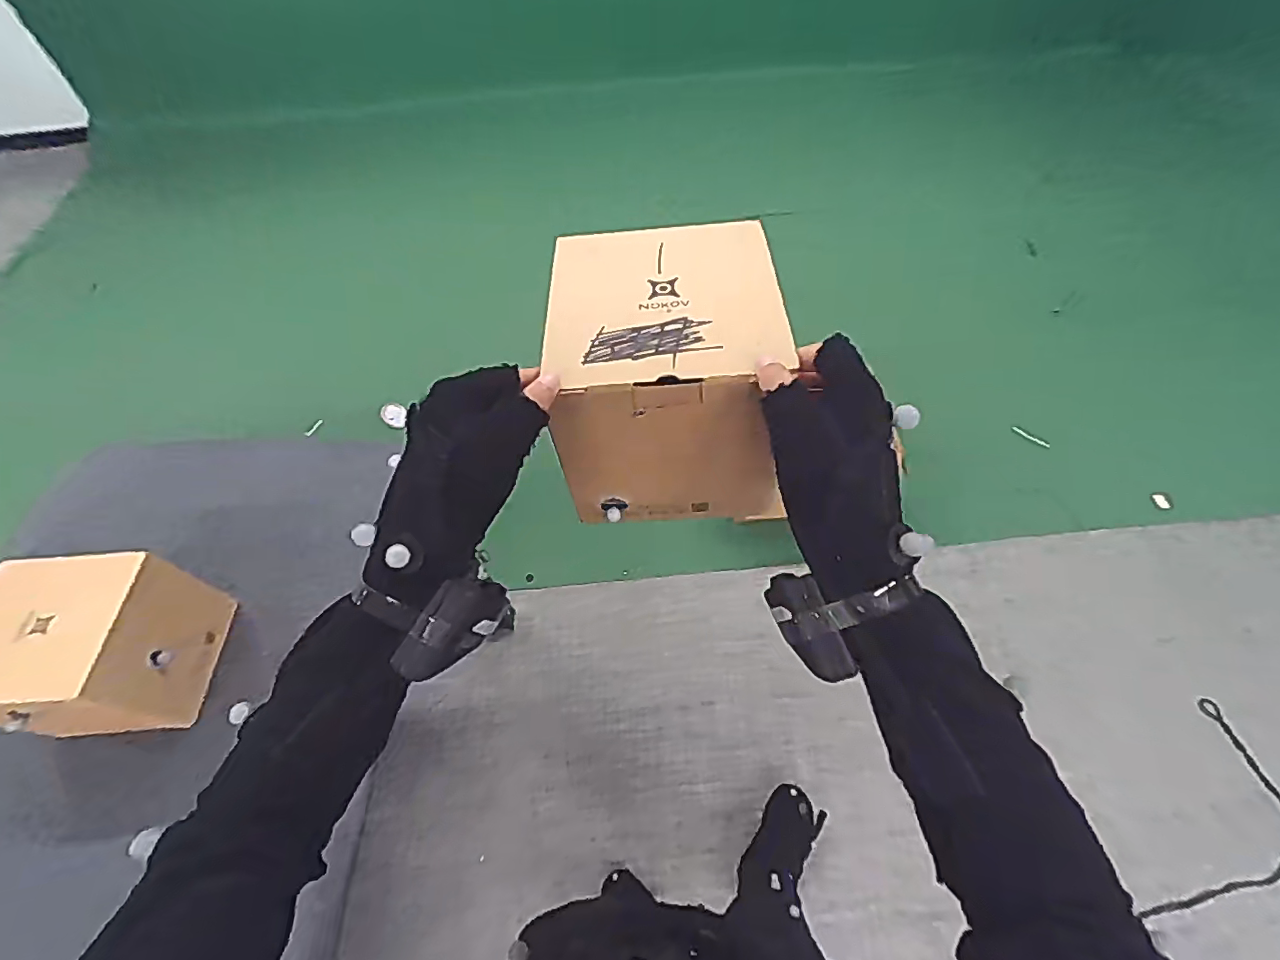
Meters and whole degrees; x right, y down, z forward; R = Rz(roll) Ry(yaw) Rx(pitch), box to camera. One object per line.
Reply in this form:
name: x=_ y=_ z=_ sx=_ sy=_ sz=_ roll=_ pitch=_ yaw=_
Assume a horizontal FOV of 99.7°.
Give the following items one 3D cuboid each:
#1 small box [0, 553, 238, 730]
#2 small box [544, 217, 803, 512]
small box: x=-0.646 y=0.201 z=0.657 sx=0.179 sy=0.176 sz=0.168 roll=-5 pitch=58 yaw=1
small box: x=0.028 y=-0.084 z=0.446 sx=0.168 sy=0.176 sz=0.179 roll=-3 pitch=54 yaw=4
